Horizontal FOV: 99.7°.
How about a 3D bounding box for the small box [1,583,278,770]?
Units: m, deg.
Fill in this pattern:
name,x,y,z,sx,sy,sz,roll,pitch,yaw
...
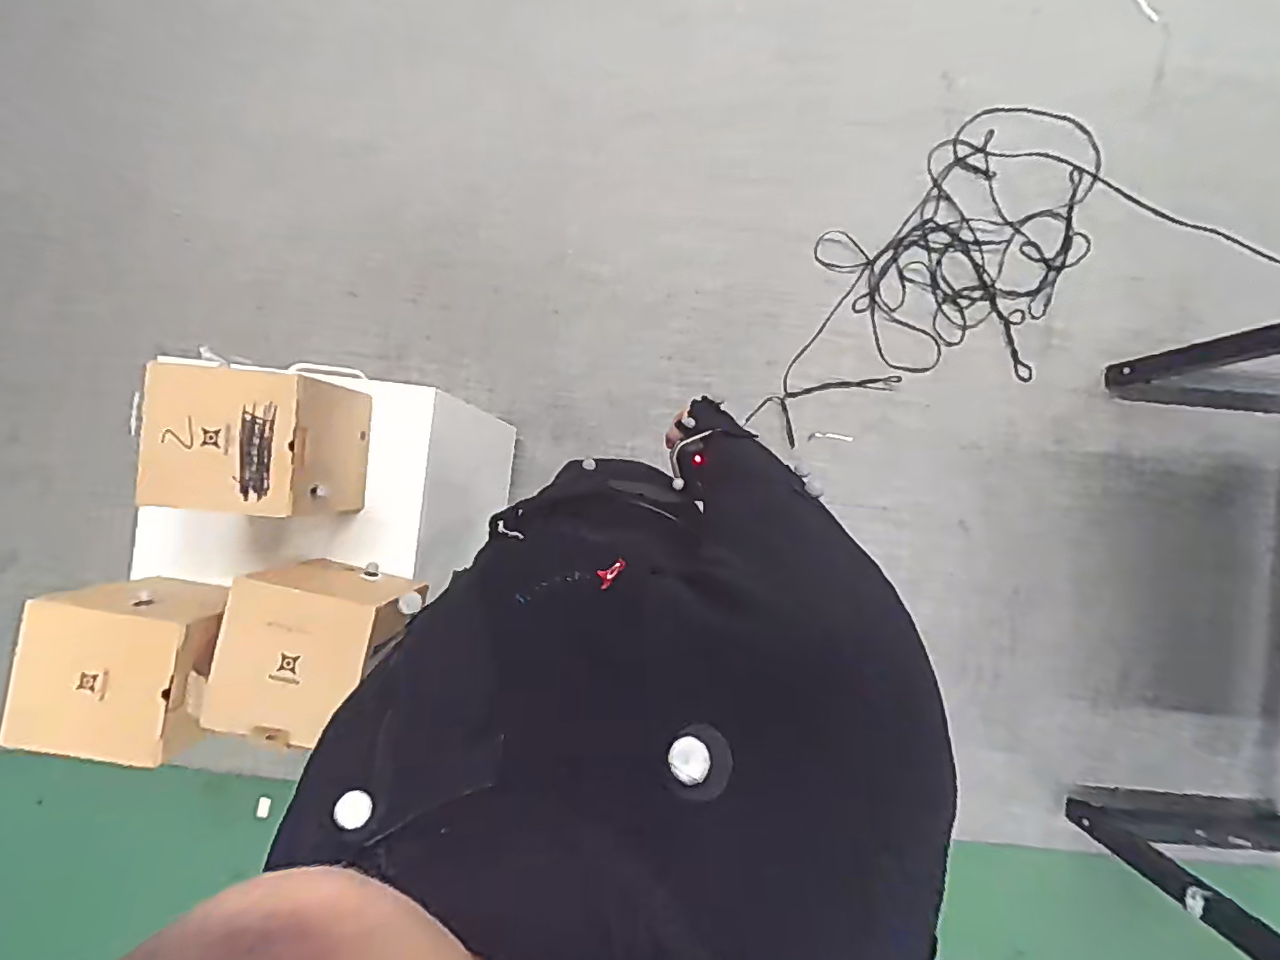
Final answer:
name,x,y,z,sx,sy,sz,roll,pitch,yaw
small box,-0.607,0.231,0.680,0.179,0.176,0.168,9,88,-2
